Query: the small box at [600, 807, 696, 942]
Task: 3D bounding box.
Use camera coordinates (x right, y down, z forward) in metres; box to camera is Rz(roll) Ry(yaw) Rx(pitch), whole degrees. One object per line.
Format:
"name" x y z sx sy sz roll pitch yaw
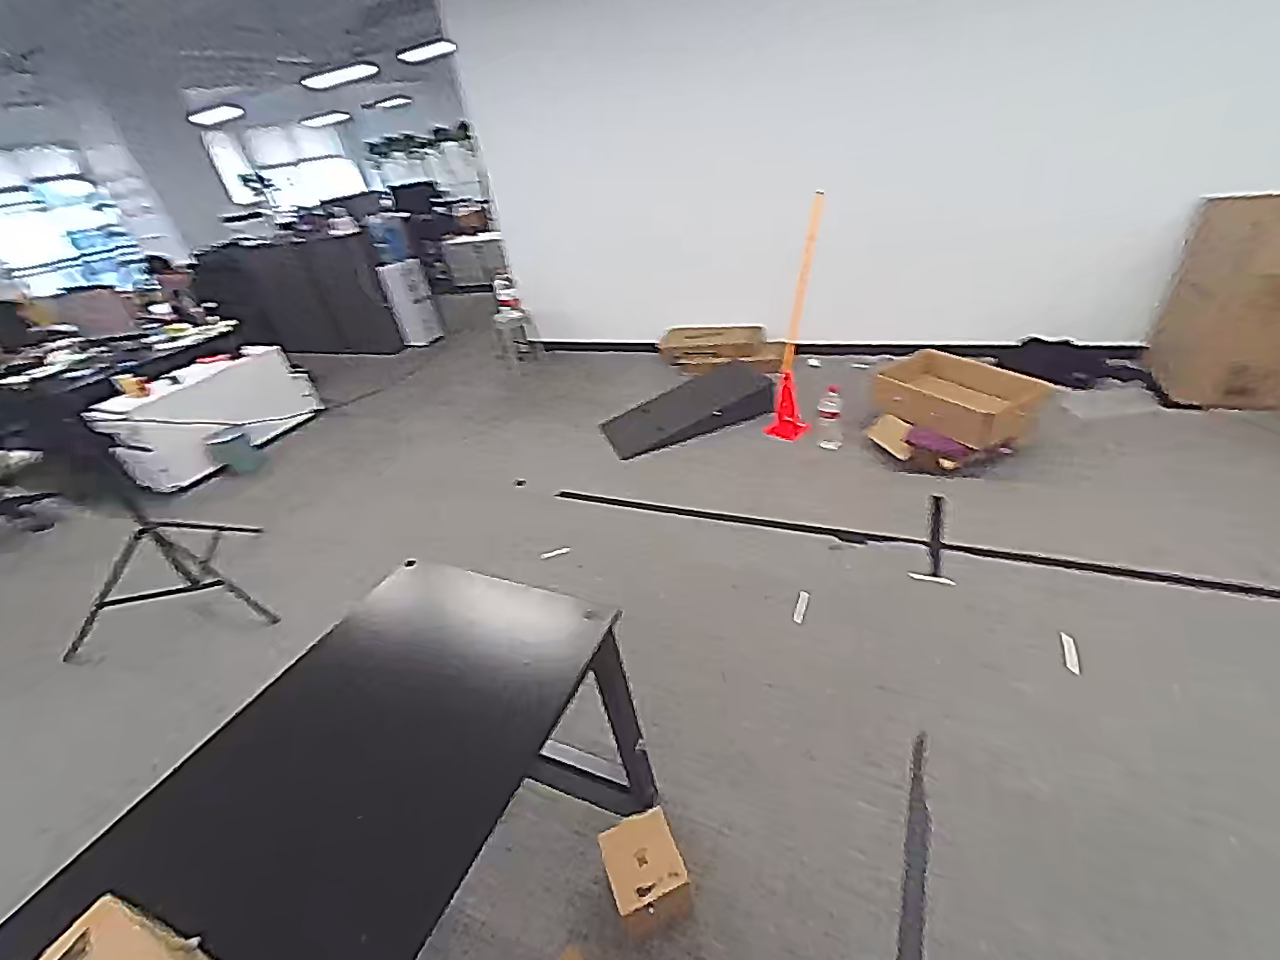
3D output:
"small box" 0.019 0.929 1.276 0.168 0.176 0.179 -19 34 -13

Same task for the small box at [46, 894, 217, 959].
"small box" -0.568 0.609 0.587 0.179 0.176 0.168 8 37 25
